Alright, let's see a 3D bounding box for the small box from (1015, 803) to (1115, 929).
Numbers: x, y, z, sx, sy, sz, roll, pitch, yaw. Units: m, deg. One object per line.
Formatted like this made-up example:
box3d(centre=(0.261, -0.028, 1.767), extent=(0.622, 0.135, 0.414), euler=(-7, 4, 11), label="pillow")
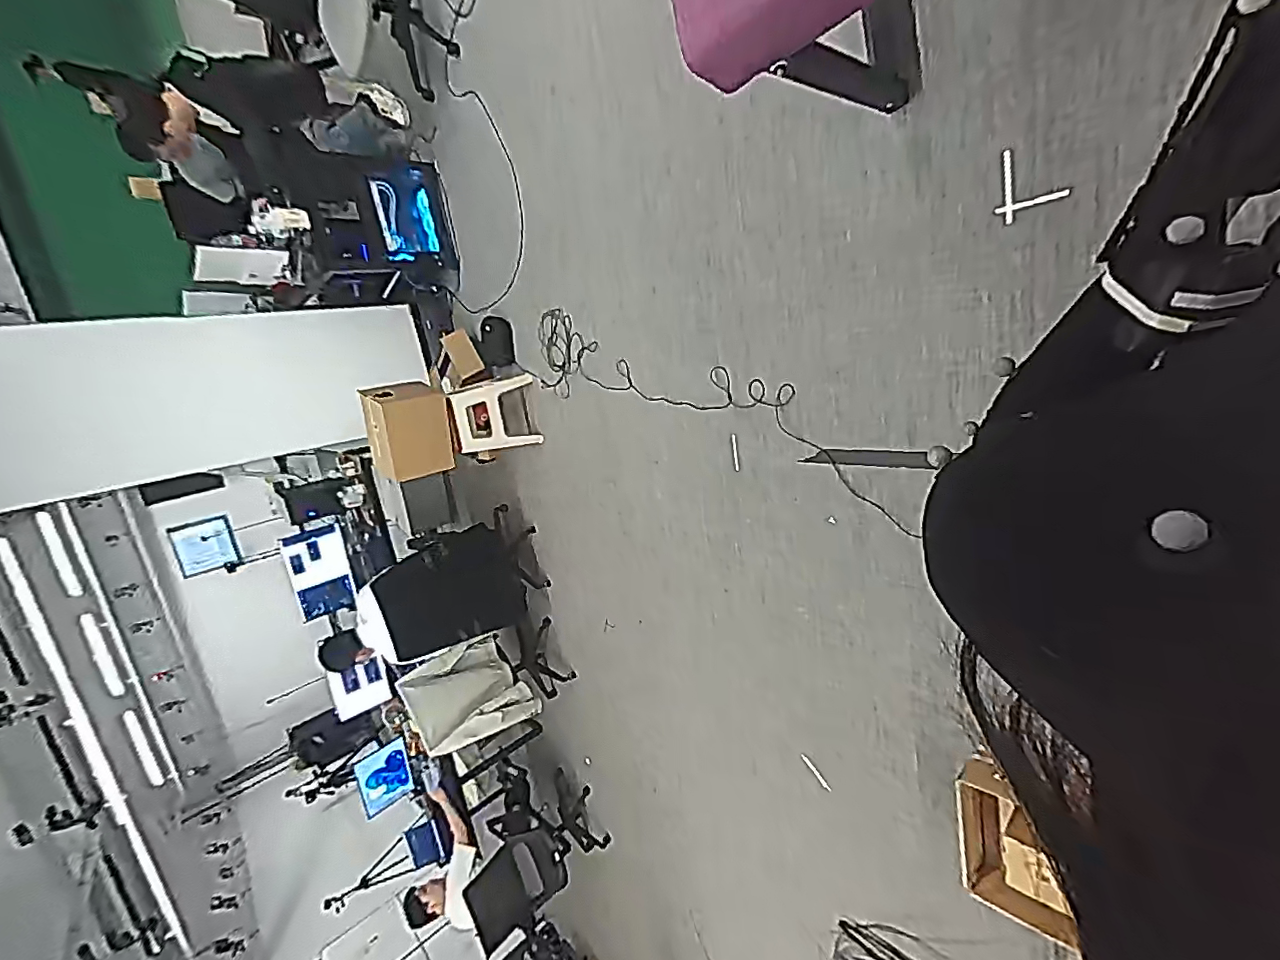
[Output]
box3d(centre=(1.100, 0.981, 1.398), extent=(0.179, 0.176, 0.168), euler=(1, 107, 48), label="small box")
